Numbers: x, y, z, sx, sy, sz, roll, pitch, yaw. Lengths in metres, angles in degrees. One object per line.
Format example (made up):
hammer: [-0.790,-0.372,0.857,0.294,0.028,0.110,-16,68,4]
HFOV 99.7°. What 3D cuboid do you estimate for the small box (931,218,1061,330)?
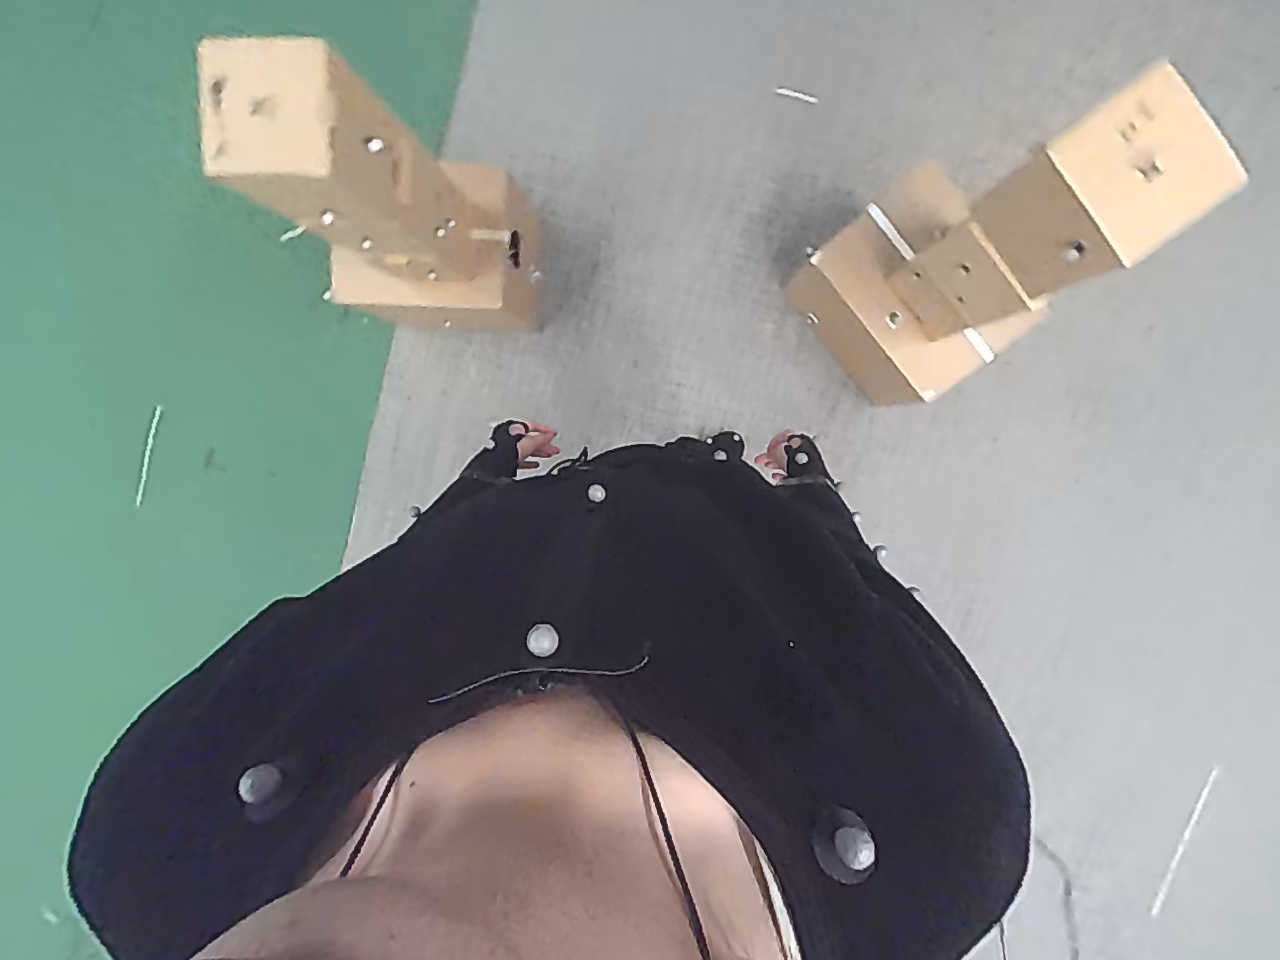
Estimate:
small box: [0.606,-0.368,0.871,0.179,0.176,0.168,-38,91,5]

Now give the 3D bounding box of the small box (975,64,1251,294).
small box: [0.593,-0.367,0.706,0.168,0.176,0.179,-36,91,5]

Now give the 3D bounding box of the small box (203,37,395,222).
small box: [-0.473,-0.487,0.776,0.179,0.176,0.168,4,95,3]

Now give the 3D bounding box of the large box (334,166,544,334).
large box: [-0.473,-0.548,1.346,0.408,0.320,0.320,4,94,5]

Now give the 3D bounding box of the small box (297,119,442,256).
small box: [-0.459,-0.499,0.939,0.179,0.176,0.168,3,96,4]

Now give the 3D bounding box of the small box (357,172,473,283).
small box: [-0.451,-0.511,1.102,0.168,0.176,0.179,4,95,4]
